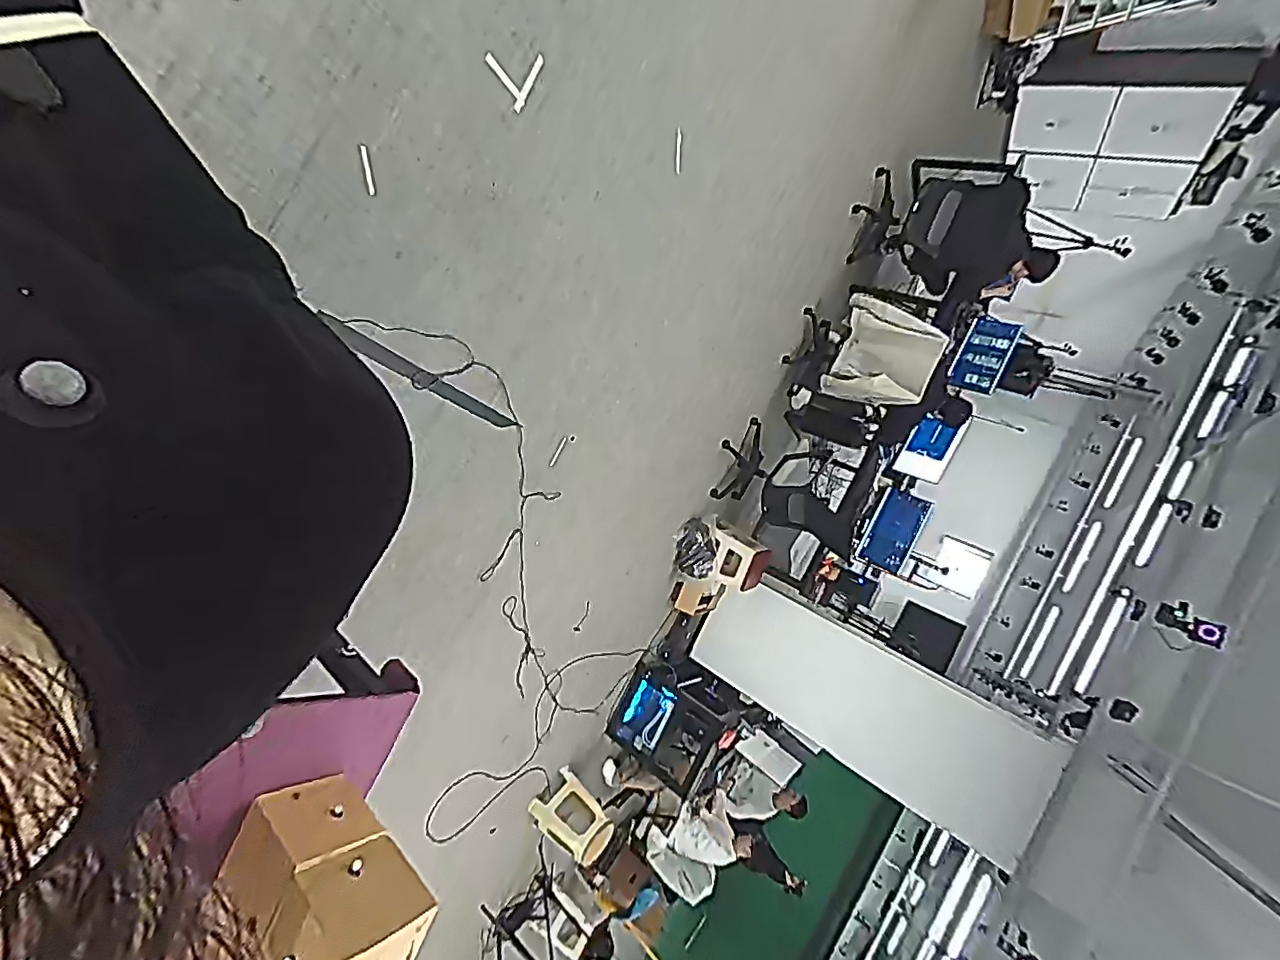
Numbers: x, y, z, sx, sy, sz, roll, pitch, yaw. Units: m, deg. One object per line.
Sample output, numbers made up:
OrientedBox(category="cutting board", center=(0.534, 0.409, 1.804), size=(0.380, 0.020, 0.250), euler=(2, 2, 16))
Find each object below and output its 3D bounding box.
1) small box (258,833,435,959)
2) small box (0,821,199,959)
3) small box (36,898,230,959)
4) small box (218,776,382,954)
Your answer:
OrientedBox(category="small box", center=(-0.483, 0.735, 0.888), size=(0.179, 0.176, 0.168), euler=(19, 97, -58))
OrientedBox(category="small box", center=(-0.741, 0.595, 0.713), size=(0.179, 0.176, 0.168), euler=(25, 91, -58))
OrientedBox(category="small box", center=(-0.611, 0.646, 0.631), size=(0.179, 0.176, 0.168), euler=(30, 86, -58))
OrientedBox(category="small box", center=(-0.609, 0.664, 0.967), size=(0.168, 0.176, 0.179), euler=(23, 94, -59))
